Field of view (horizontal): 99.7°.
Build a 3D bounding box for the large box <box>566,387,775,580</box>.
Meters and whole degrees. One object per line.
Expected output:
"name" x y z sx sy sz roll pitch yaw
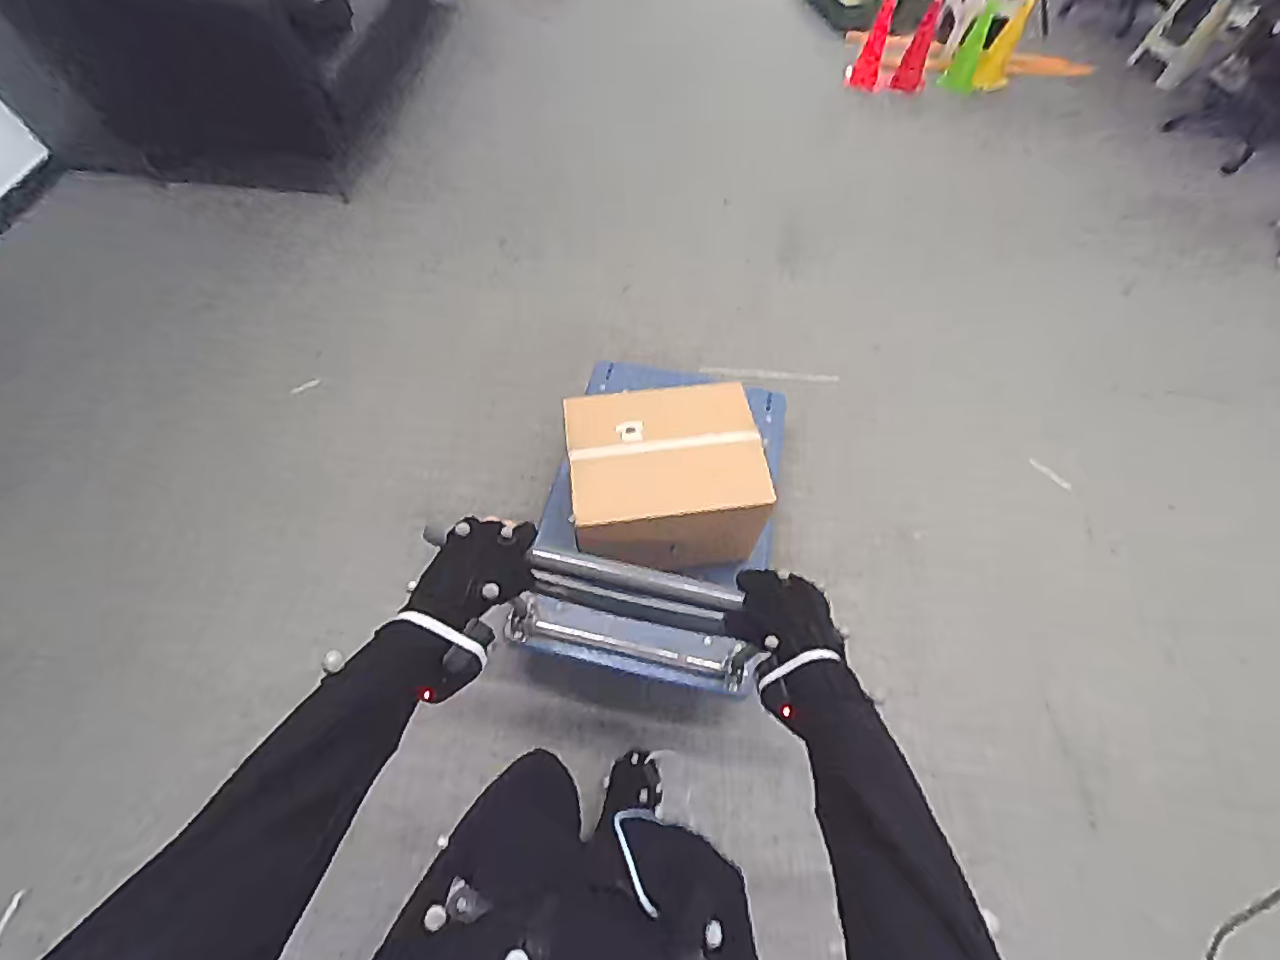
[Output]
"large box" 0.054 0.018 1.263 0.408 0.320 0.320 -7 60 -4
